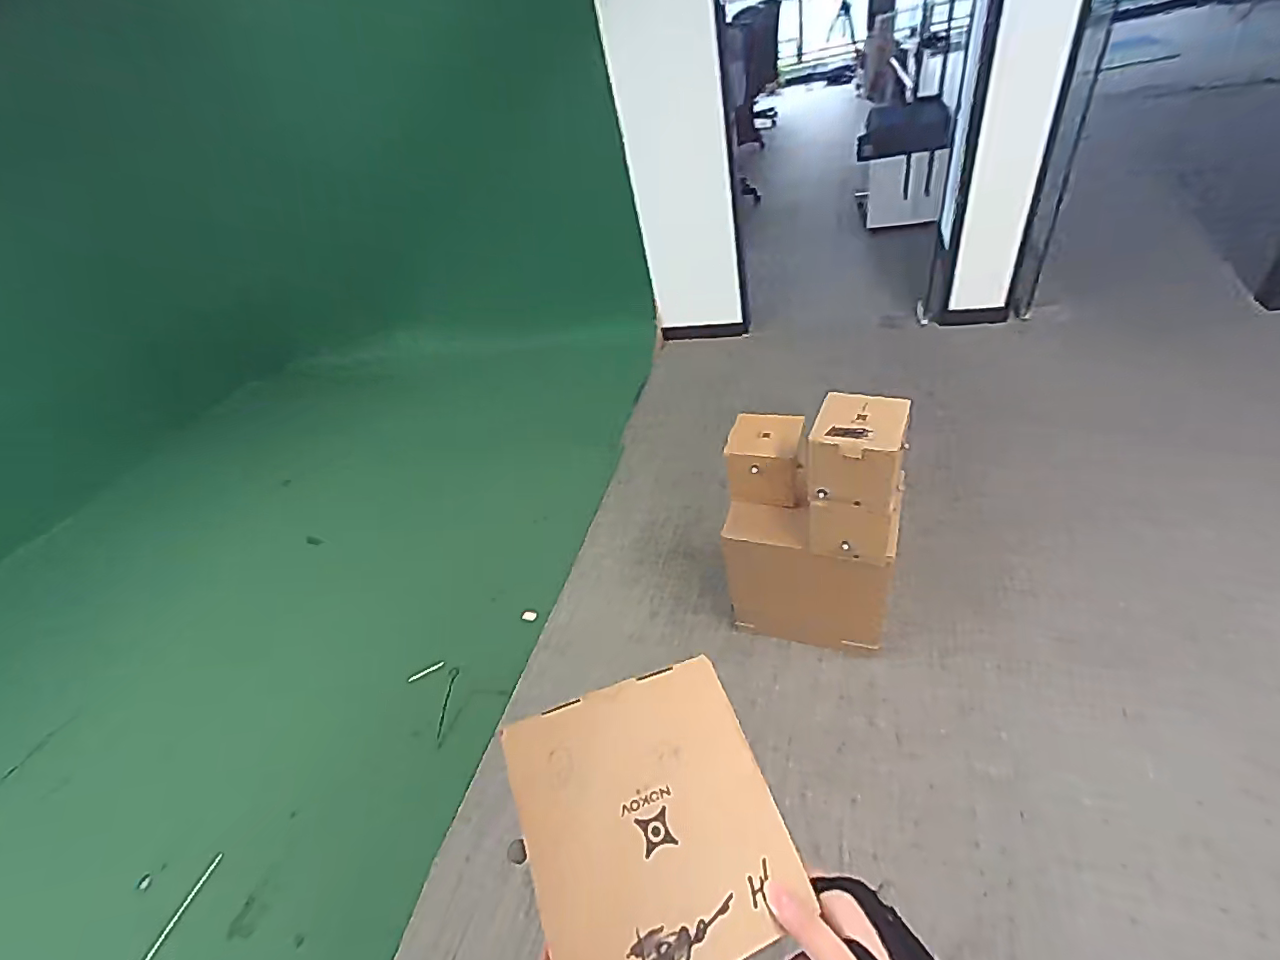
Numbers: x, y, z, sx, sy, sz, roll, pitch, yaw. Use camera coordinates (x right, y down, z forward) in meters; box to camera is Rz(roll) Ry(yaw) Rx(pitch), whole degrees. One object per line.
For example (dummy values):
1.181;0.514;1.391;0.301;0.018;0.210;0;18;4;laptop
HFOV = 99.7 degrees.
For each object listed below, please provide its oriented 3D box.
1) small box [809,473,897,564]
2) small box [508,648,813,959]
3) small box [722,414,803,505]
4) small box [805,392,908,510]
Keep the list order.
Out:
0.484;0.062;1.236;0.168;0.176;0.179;8;46;25;small box
-0.002;0.266;0.429;0.168;0.176;0.179;-13;56;-17;small box
0.326;-0.052;1.410;0.179;0.176;0.168;6;45;23;small box
0.451;-0.060;1.131;0.168;0.176;0.179;11;46;27;small box
